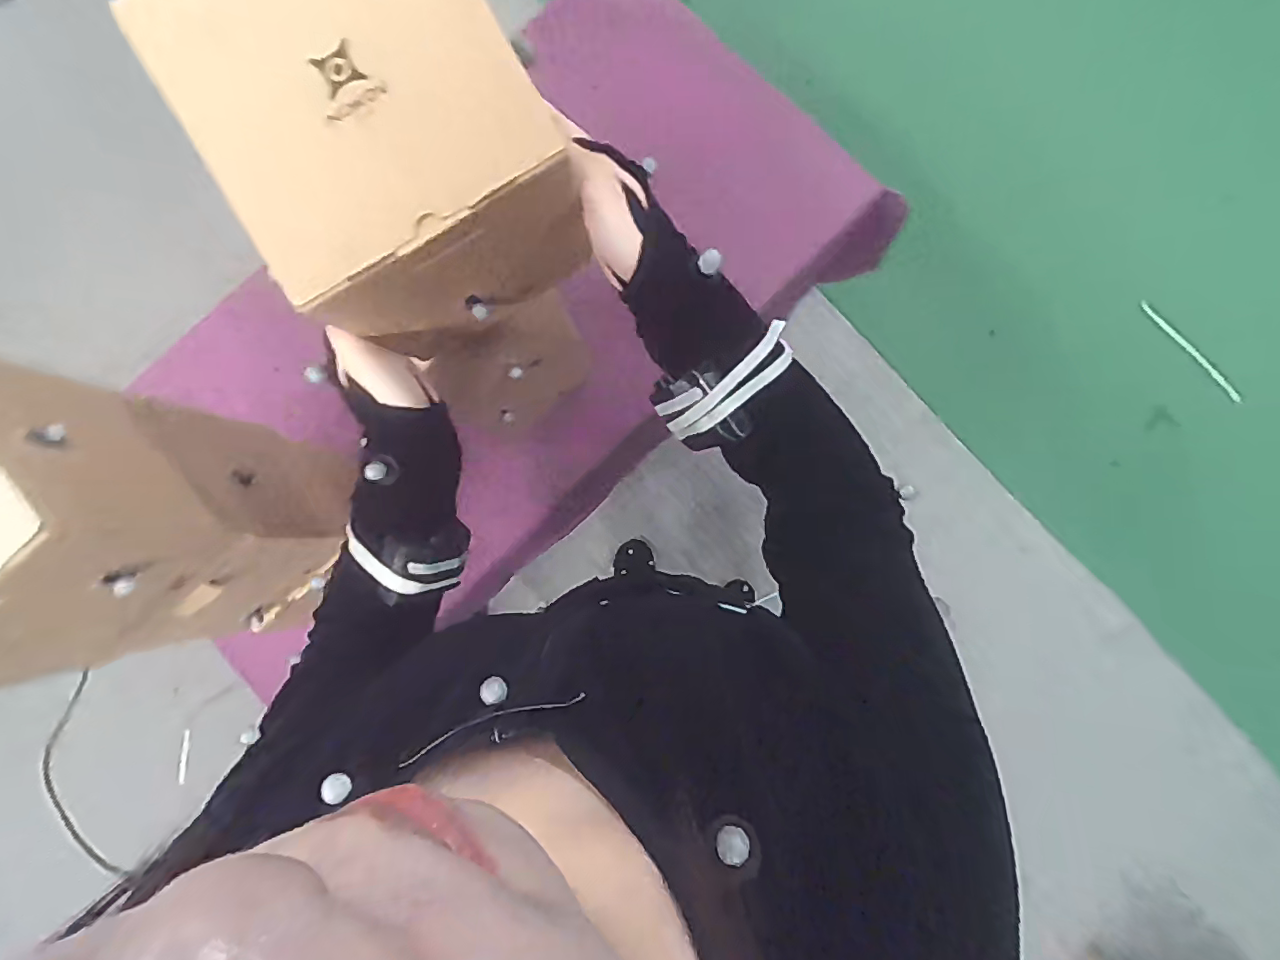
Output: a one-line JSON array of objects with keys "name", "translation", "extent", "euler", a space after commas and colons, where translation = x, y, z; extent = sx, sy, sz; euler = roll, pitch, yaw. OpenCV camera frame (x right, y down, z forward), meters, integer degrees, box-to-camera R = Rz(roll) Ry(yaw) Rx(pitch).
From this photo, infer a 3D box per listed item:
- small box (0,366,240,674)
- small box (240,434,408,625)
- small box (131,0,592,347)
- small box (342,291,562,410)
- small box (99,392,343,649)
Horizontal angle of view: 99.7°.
[{"name": "small box", "translation": [-0.459, 0.028, 0.400], "extent": [0.168, 0.176, 0.179], "euler": [-43, 85, -3]}, {"name": "small box", "translation": [-0.452, 0.062, 0.726], "extent": [0.168, 0.176, 0.179], "euler": [-41, 86, -3]}, {"name": "small box", "translation": [-0.143, -0.208, 0.350], "extent": [0.168, 0.176, 0.179], "euler": [-28, 96, 1]}, {"name": "small box", "translation": [-0.206, -0.199, 0.579], "extent": [0.168, 0.176, 0.179], "euler": [-37, 86, -1]}, {"name": "small box", "translation": [-0.458, 0.041, 0.562], "extent": [0.168, 0.176, 0.179], "euler": [-40, 84, -2]}]
